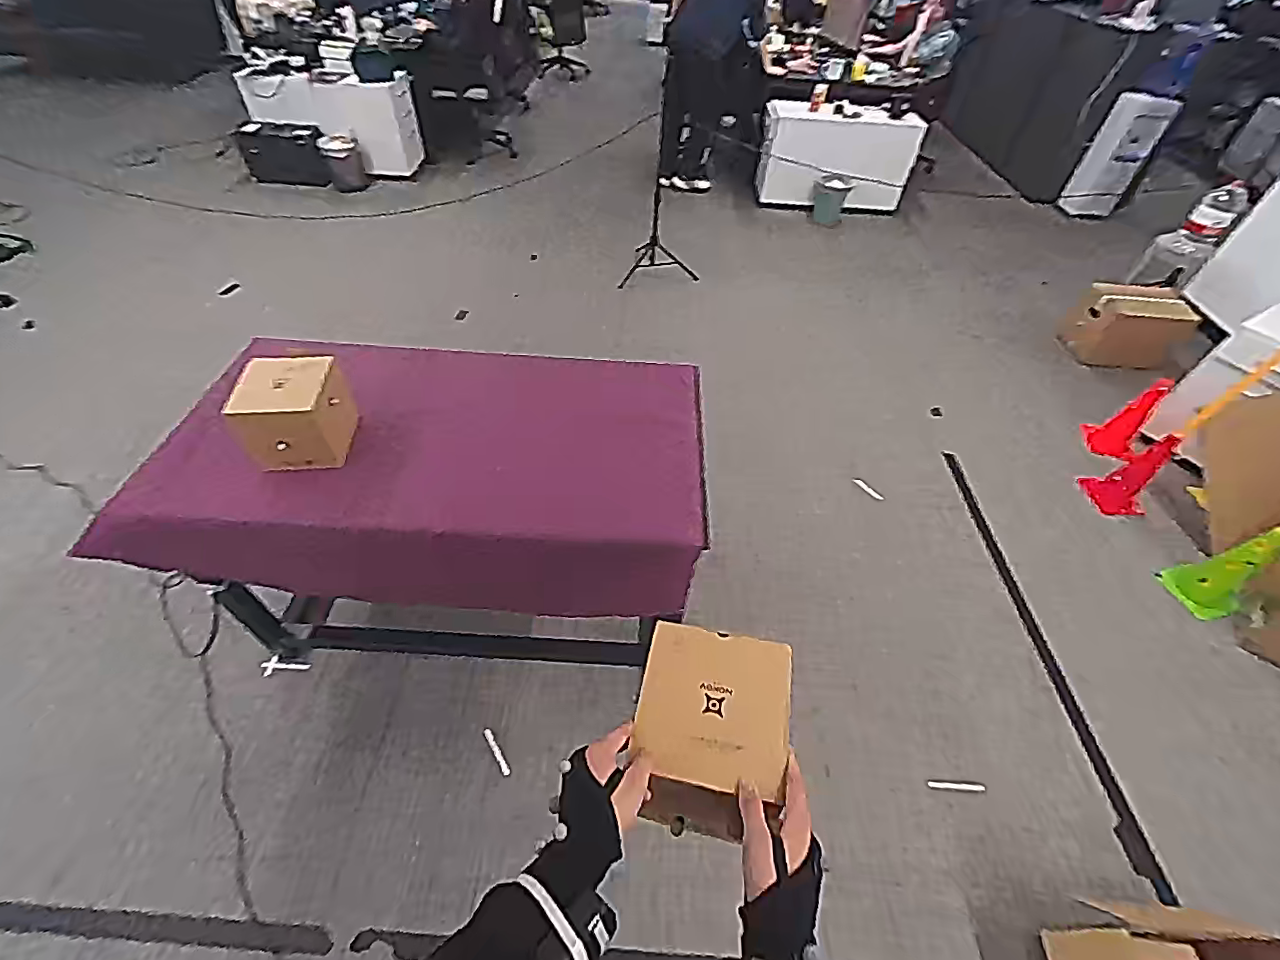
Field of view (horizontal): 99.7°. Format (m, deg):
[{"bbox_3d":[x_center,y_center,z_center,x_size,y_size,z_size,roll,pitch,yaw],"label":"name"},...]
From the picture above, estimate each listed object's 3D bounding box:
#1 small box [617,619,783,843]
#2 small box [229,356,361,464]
[{"bbox_3d":[0.072,0.301,0.653,0.168,0.176,0.179,9,44,9],"label":"small box"},{"bbox_3d":[-0.723,-0.146,1.160,0.168,0.176,0.179,-2,48,-7],"label":"small box"}]
